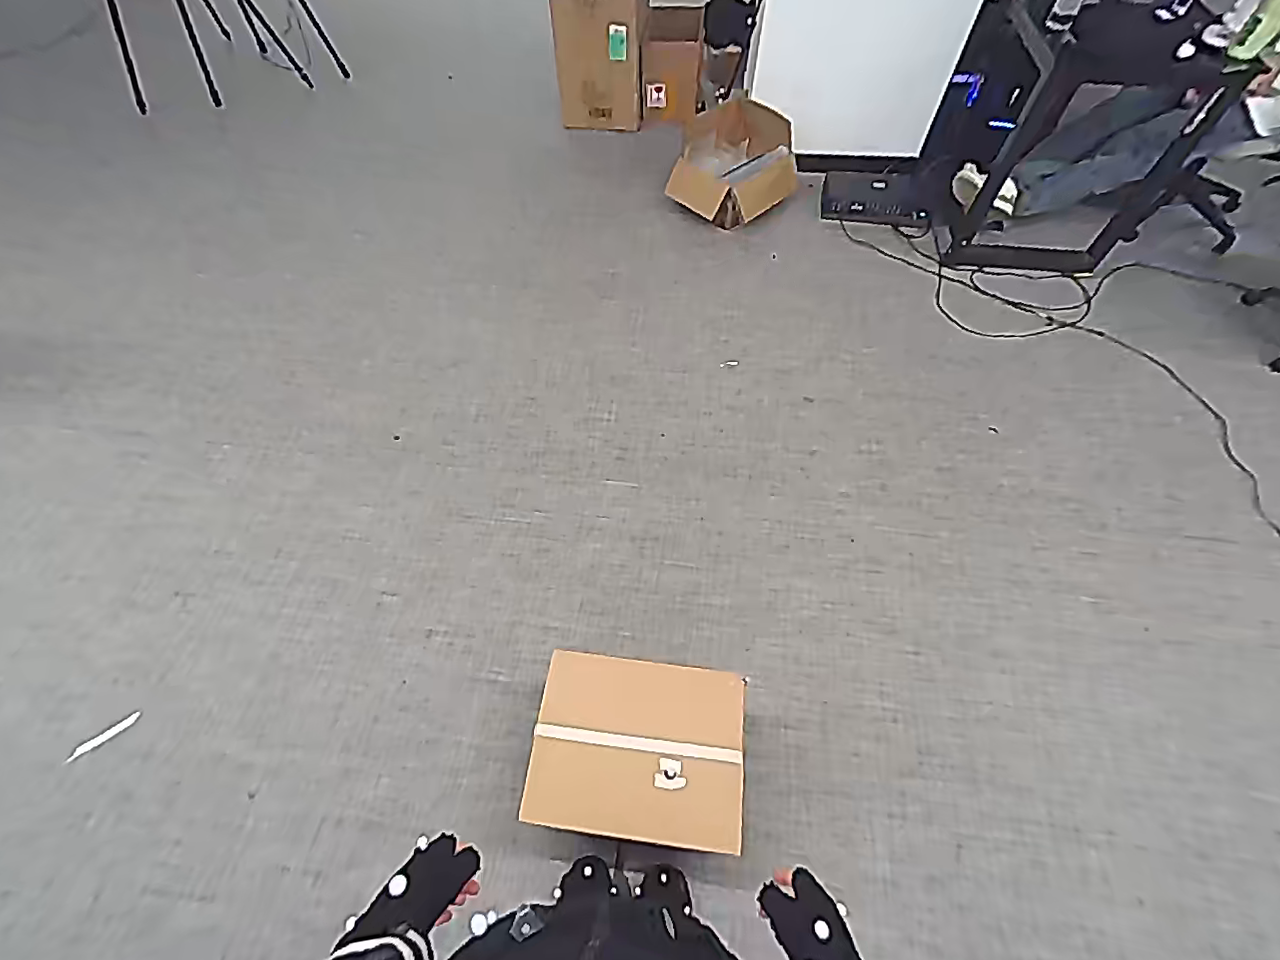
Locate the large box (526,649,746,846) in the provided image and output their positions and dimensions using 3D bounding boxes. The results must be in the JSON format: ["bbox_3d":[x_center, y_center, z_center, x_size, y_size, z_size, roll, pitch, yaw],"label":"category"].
[{"bbox_3d":[0.001,0.581,1.173,0.408,0.320,0.320,6,59,3],"label":"large box"}]
